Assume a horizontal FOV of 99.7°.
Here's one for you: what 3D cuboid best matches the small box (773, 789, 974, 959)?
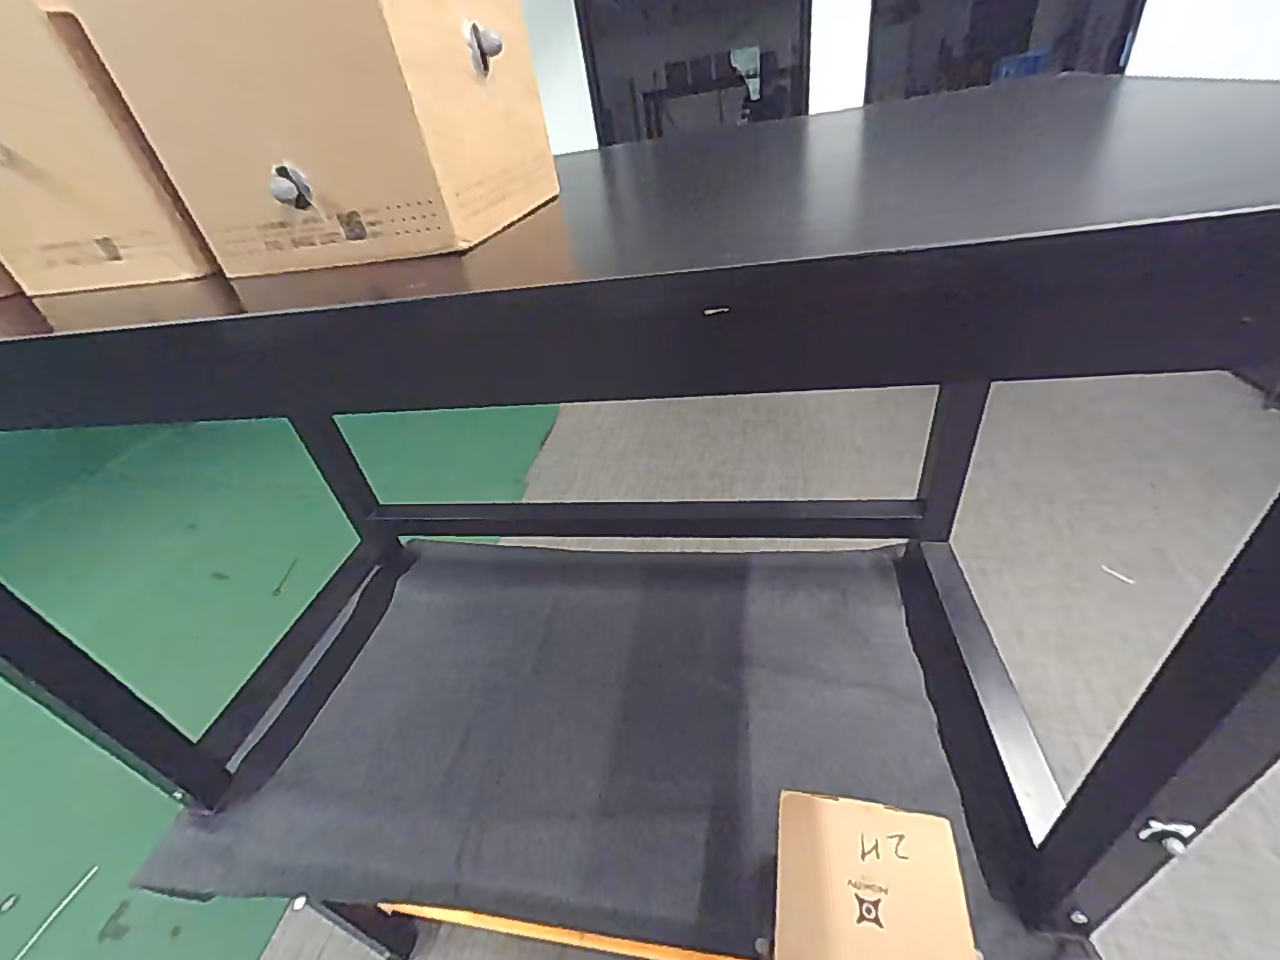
[{"bbox_3d":[0.222,0.452,0.541,0.168,0.176,0.179,2,36,16],"label":"small box"}]

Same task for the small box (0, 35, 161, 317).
[{"bbox_3d":[-0.548,-0.236,0.433,0.168,0.176,0.179,0,38,14],"label":"small box"}]
